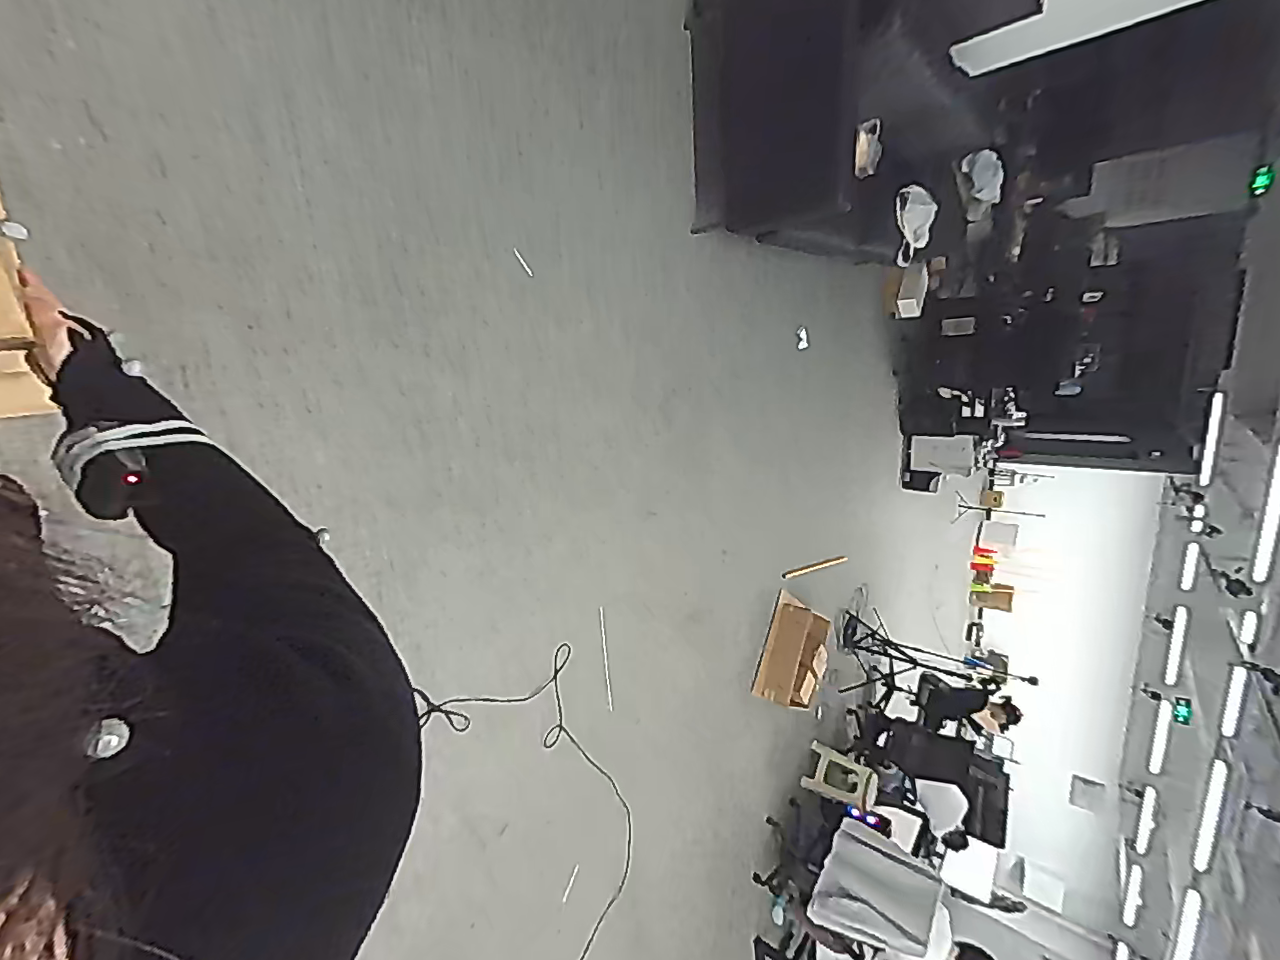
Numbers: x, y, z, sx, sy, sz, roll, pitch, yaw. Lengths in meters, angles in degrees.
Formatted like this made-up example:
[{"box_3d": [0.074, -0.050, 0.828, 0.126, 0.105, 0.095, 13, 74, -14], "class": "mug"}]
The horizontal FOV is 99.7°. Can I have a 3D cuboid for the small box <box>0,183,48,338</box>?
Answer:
[{"box_3d": [-0.563, -0.190, 0.379, 0.168, 0.176, 0.179, -20, 113, -42], "class": "small box"}]
